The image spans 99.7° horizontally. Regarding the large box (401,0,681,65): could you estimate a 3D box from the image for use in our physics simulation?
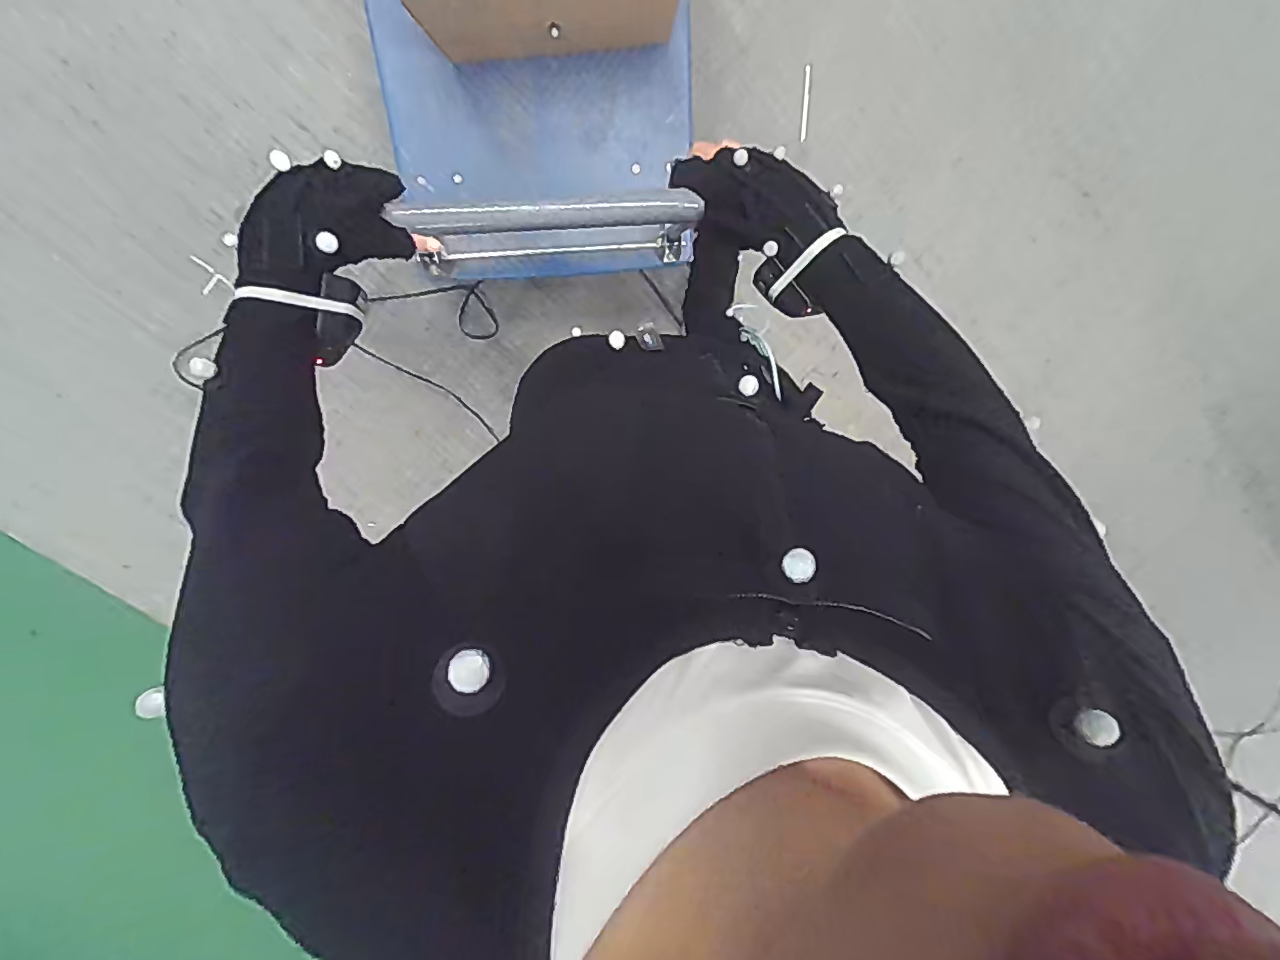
[{"bbox_3d":[-0.149,-0.870,0.807,0.408,0.320,0.320,-5,112,1],"label":"large box"}]
